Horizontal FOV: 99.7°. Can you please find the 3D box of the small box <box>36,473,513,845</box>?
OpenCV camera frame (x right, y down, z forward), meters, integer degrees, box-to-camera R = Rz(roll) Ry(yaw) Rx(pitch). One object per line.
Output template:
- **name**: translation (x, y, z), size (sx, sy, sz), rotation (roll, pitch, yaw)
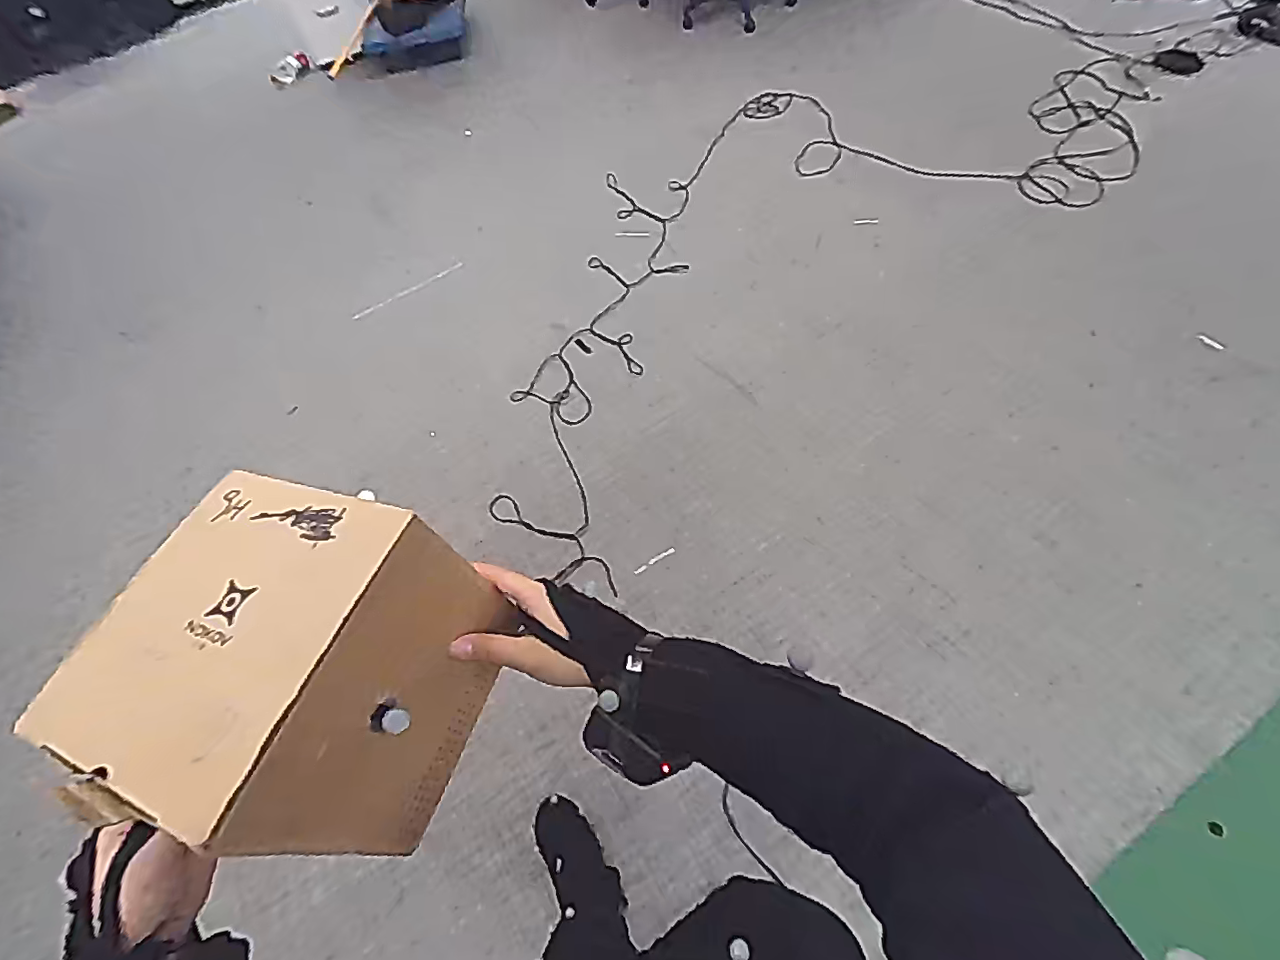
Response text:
- **small box**: translation (-0.215, 0.122, 0.372), size (0.168, 0.176, 0.179), rotation (10, 60, 21)
